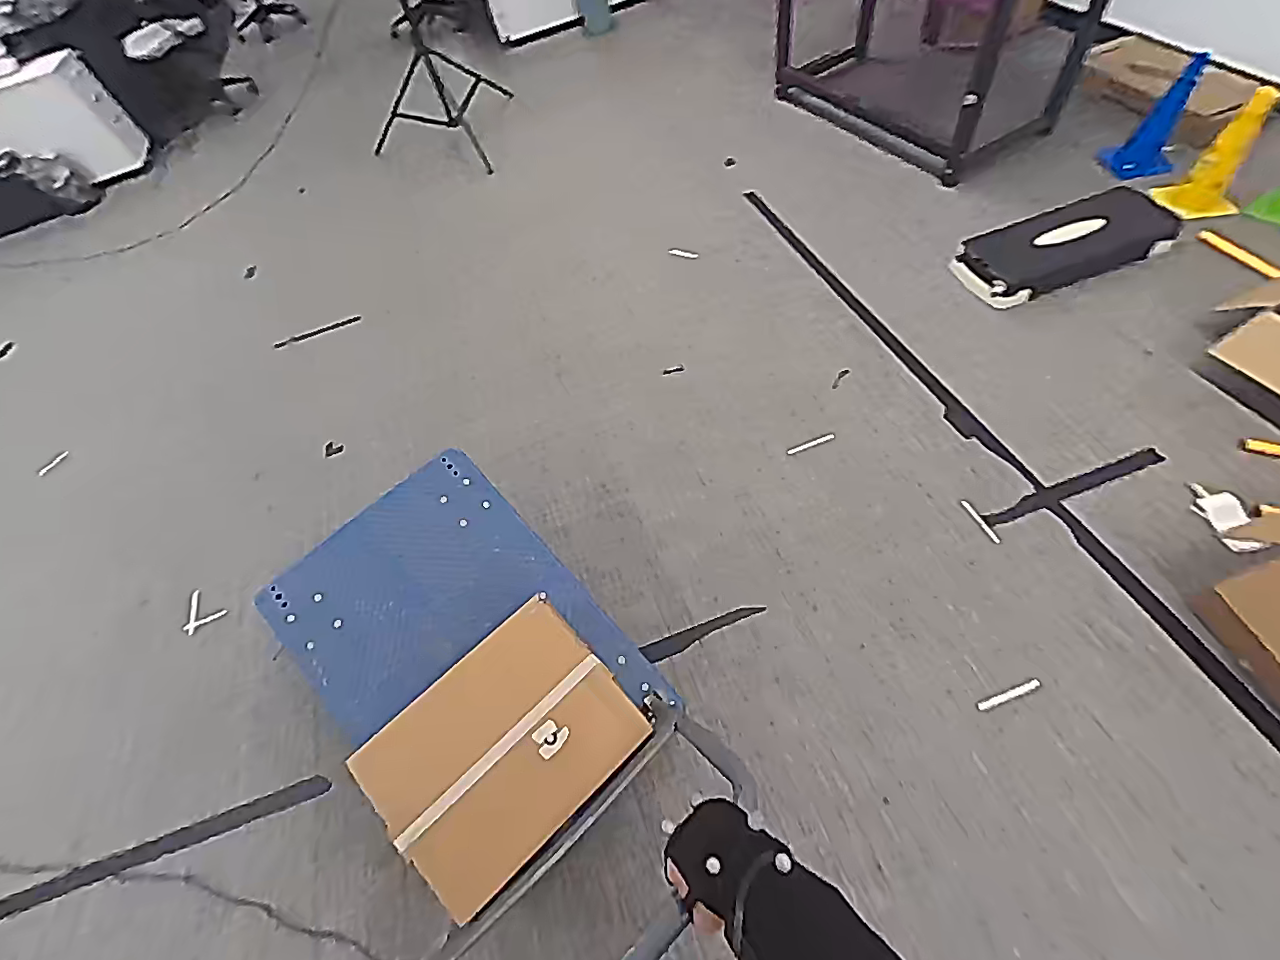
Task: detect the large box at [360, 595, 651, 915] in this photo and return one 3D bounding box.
[{"bbox_3d":[-0.232,0.496,1.056,0.408,0.320,0.320,-41,78,-17],"label":"large box"}]
